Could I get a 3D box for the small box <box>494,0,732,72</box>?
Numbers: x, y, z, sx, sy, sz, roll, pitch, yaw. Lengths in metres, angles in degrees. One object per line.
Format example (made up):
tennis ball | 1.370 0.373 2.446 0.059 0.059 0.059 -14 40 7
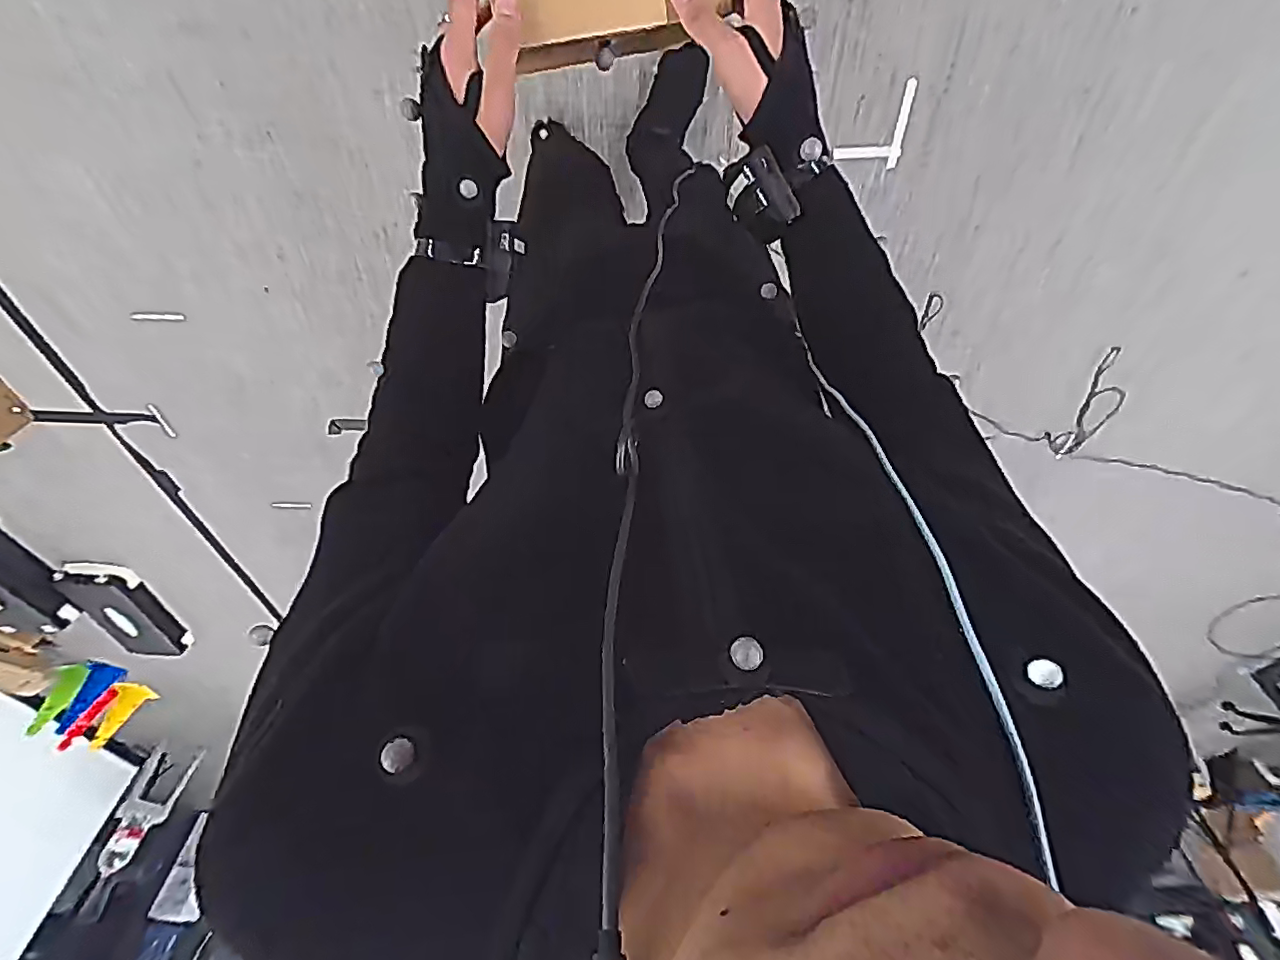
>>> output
small box | -0.038 -0.438 0.424 0.179 0.176 0.168 -12 124 -3
